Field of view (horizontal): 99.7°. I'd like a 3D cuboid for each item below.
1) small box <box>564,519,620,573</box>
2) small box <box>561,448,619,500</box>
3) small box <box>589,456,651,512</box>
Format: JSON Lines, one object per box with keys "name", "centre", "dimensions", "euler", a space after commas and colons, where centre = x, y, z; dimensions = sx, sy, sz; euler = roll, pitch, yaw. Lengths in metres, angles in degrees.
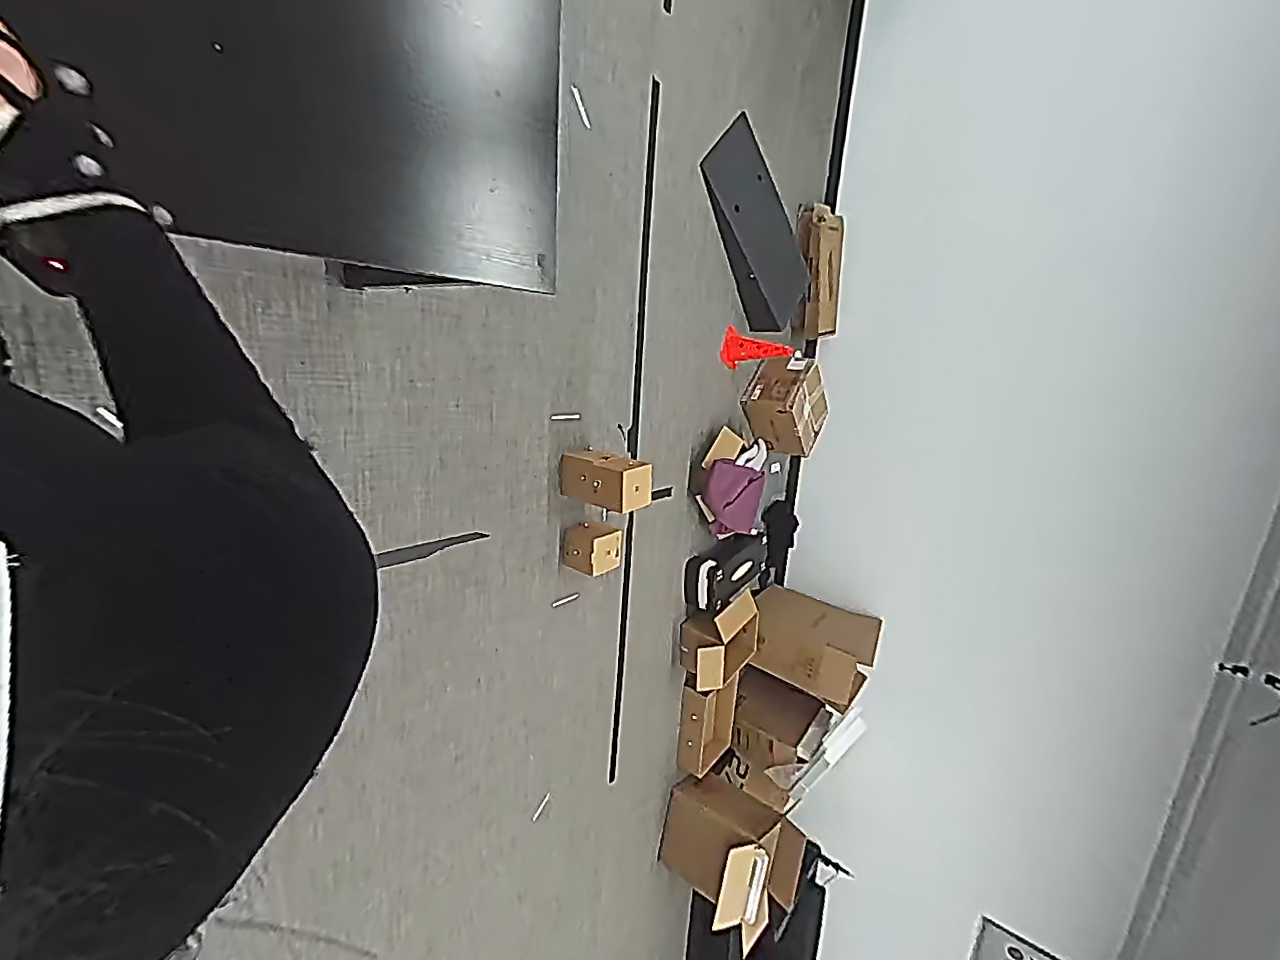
{"name": "small box", "centre": [-0.205, 0.275, 2.280], "dimensions": [0.179, 0.176, 0.168], "euler": [-12, 111, -50]}
{"name": "small box", "centre": [-0.203, -0.028, 2.177], "dimensions": [0.168, 0.176, 0.179], "euler": [-15, 114, -50]}
{"name": "small box", "centre": [-0.077, 0.008, 2.080], "dimensions": [0.179, 0.176, 0.168], "euler": [-17, 113, -48]}
